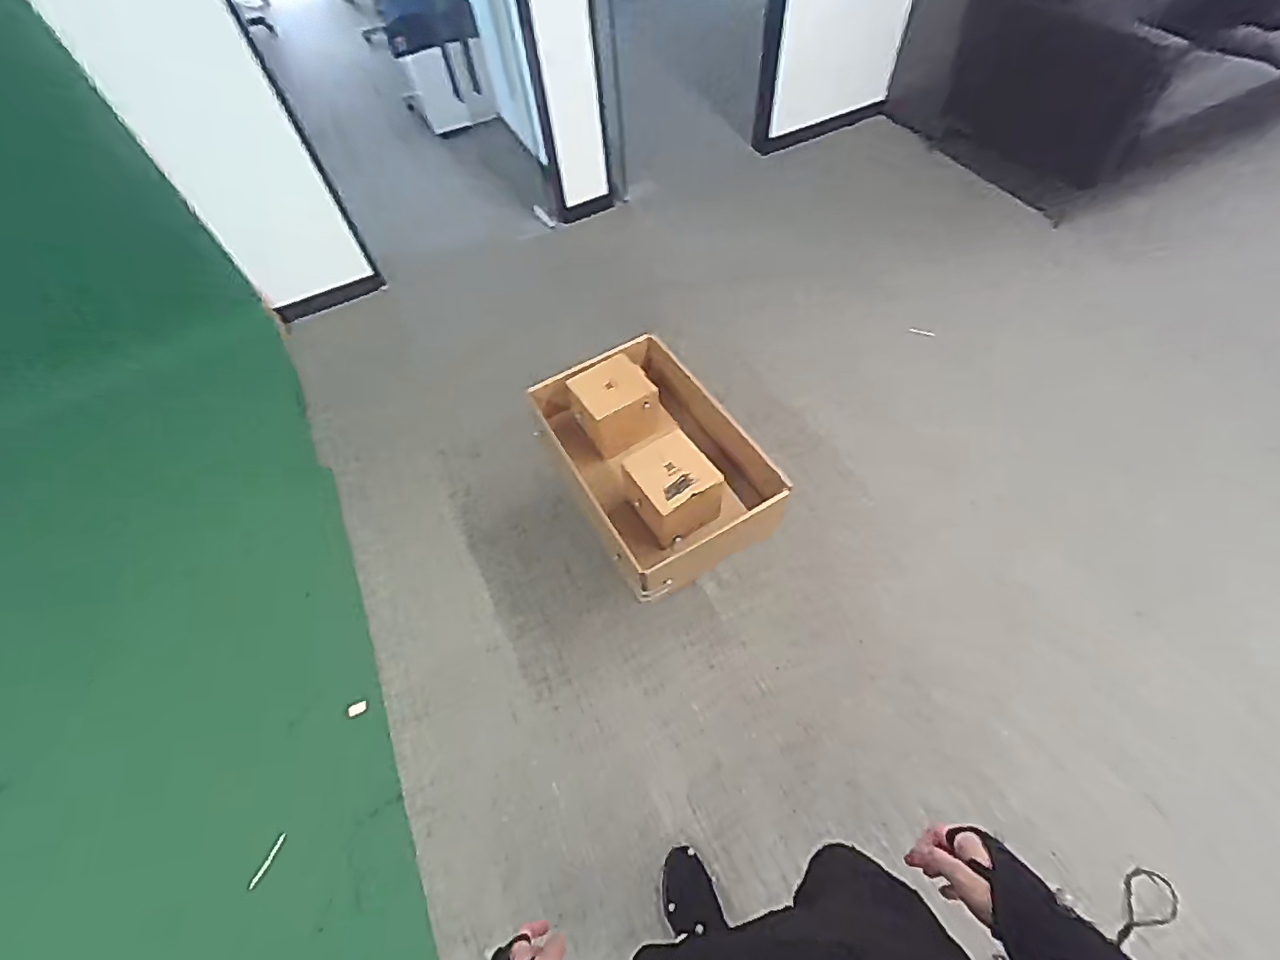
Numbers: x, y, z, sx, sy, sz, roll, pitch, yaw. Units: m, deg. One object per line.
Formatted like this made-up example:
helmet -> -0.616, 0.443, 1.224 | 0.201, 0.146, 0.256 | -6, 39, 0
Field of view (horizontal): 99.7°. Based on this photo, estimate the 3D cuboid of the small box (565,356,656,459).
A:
small box -> -0.072, -0.186, 1.420 | 0.179, 0.176, 0.168 | -31, 59, -16
